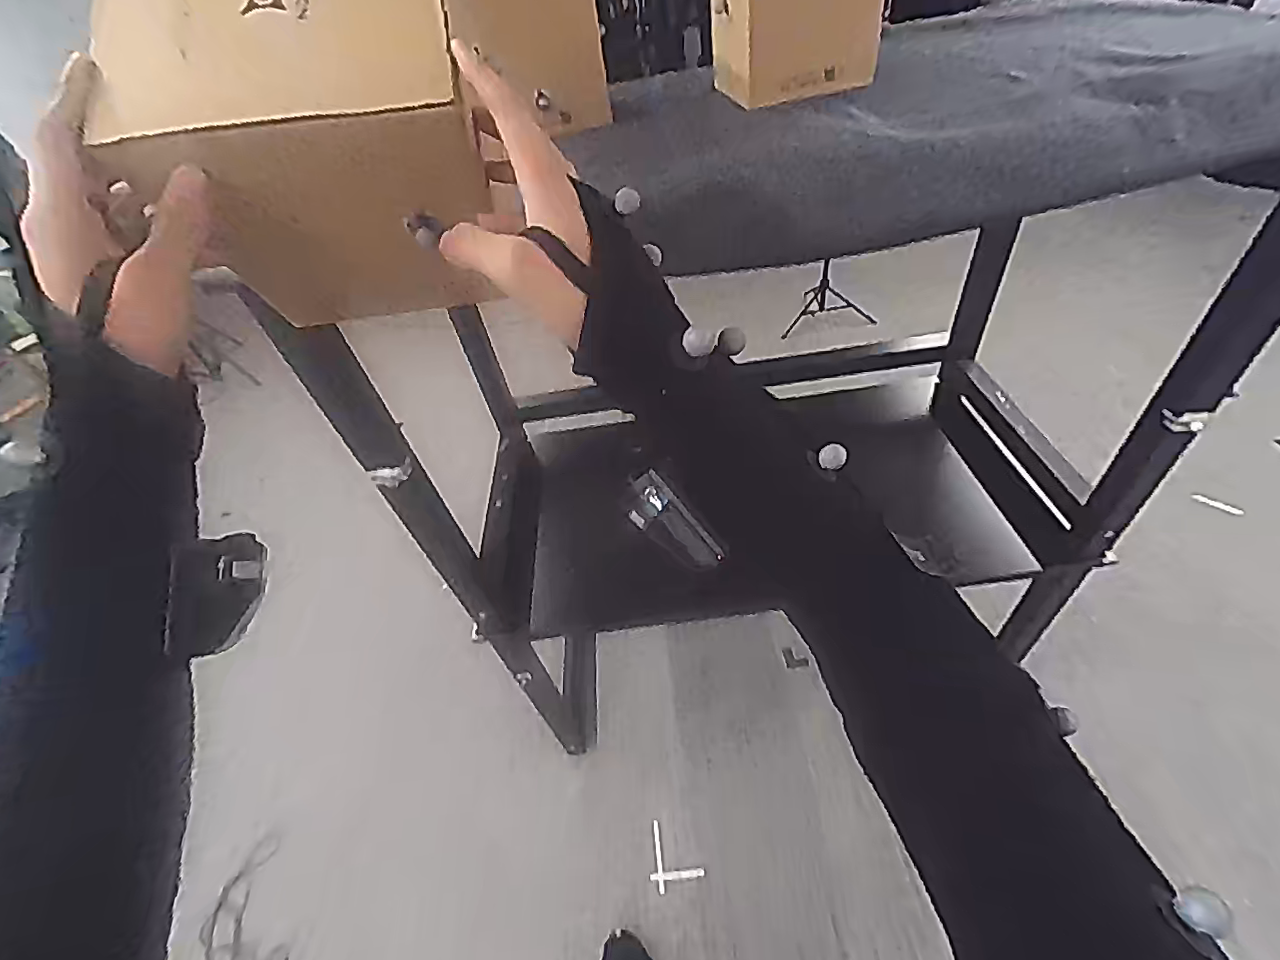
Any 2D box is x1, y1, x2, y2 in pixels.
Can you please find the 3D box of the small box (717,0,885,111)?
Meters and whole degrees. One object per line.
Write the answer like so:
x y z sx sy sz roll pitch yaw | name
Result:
0.196 -0.594 0.693 0.168 0.176 0.179 -12 44 -1 | small box

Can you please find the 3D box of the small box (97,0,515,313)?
-0.185 -0.233 0.357 0.179 0.176 0.168 -8 75 -4 | small box
